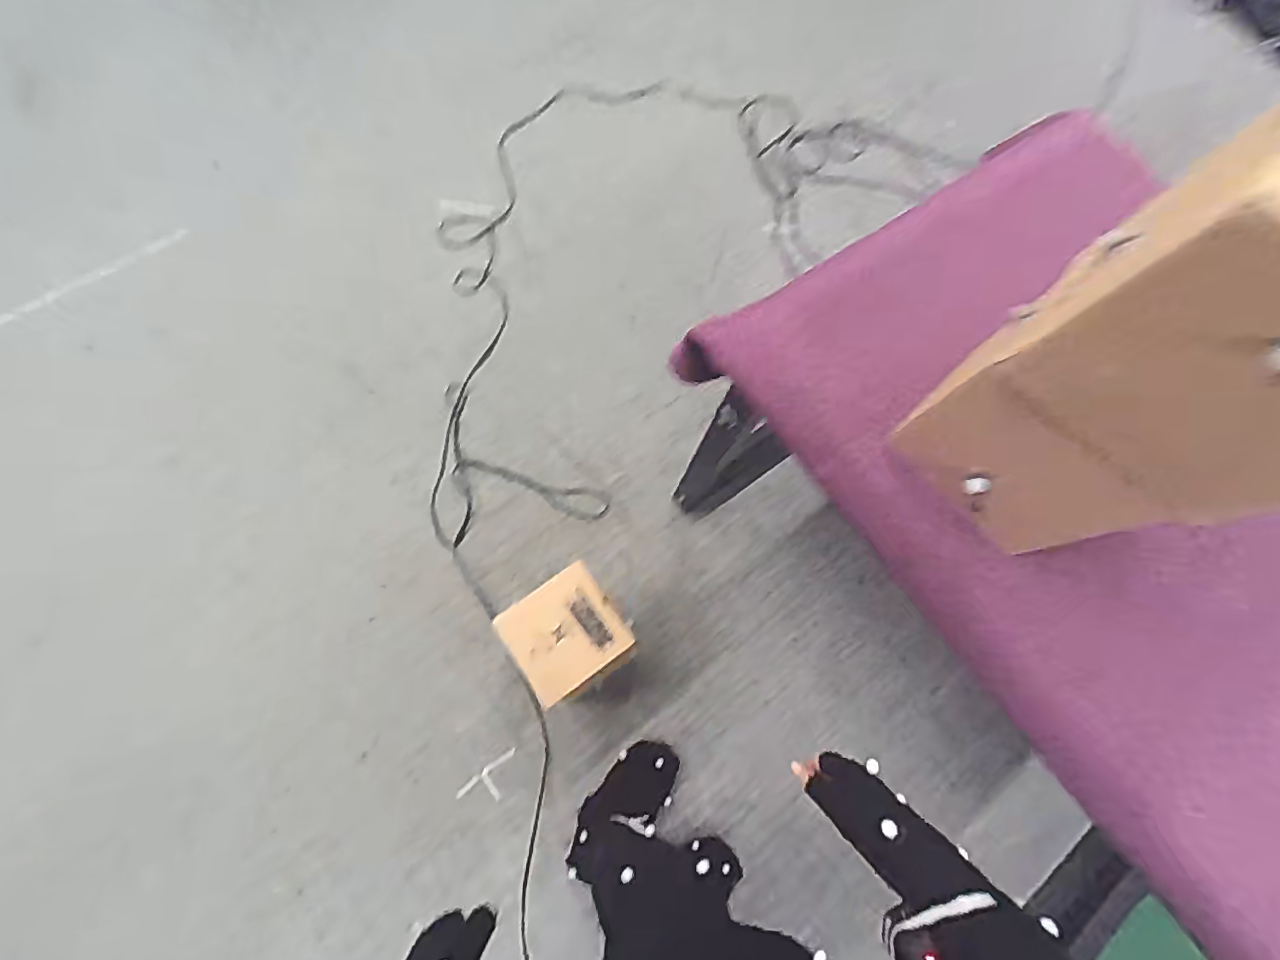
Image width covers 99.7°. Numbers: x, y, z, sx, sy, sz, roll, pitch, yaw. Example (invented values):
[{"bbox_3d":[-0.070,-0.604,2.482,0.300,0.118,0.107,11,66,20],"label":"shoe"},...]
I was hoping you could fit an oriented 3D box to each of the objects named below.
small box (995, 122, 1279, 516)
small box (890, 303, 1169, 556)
[{"bbox_3d":[0.391,-0.094,0.349,0.179,0.176,0.168,43,73,8],"label":"small box"},{"bbox_3d":[0.379,-0.053,0.507,0.179,0.176,0.168,-39,80,-17],"label":"small box"}]
